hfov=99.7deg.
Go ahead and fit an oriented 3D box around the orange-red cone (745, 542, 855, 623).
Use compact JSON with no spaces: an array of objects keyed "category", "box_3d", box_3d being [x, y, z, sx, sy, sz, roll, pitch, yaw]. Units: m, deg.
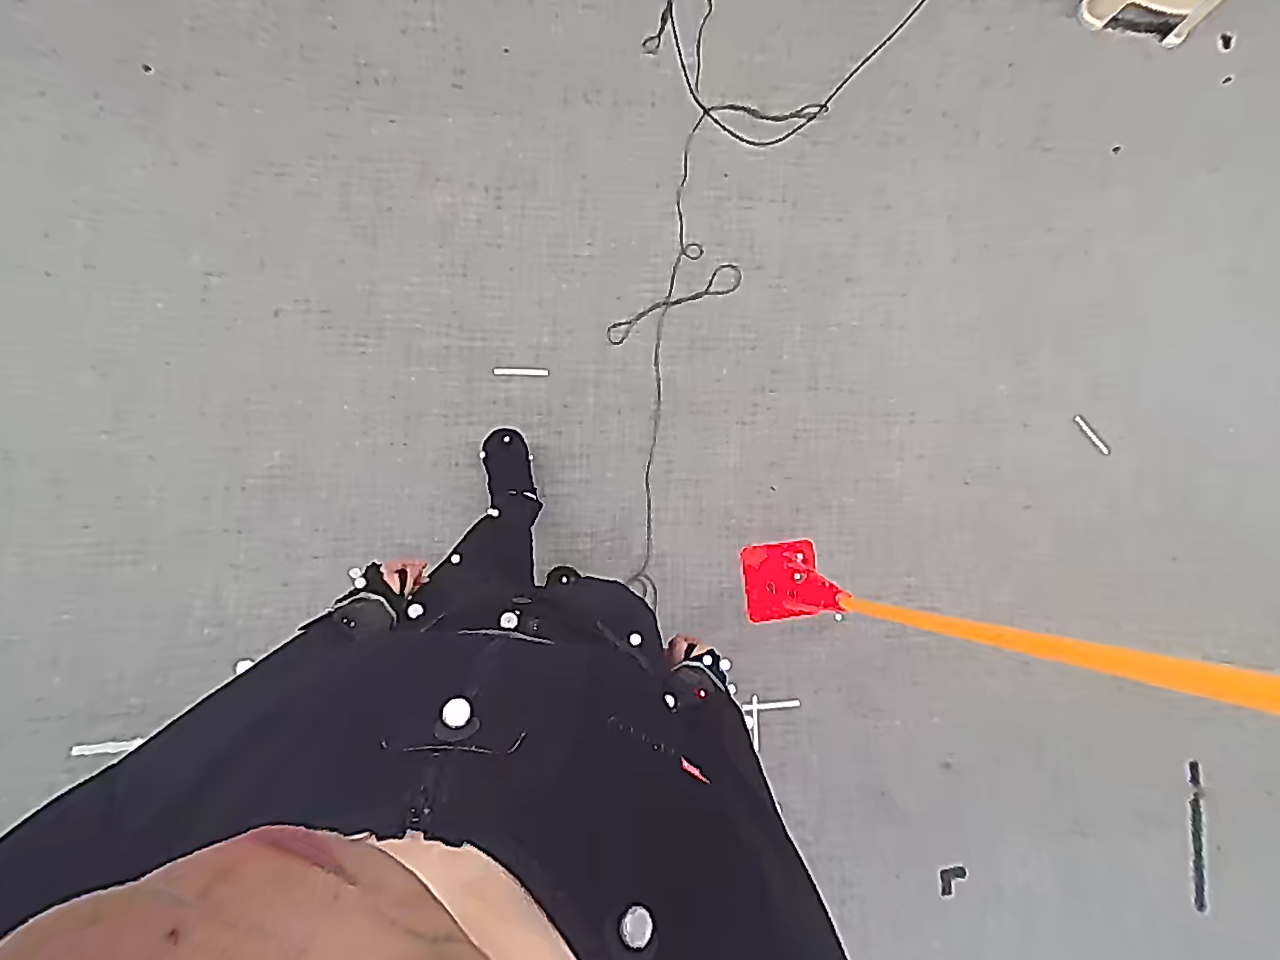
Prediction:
[{"category":"orange-red cone","box_3d":[0.388,0.251,1.232,0.199,0.360,0.198,-5,86,-5]}]
